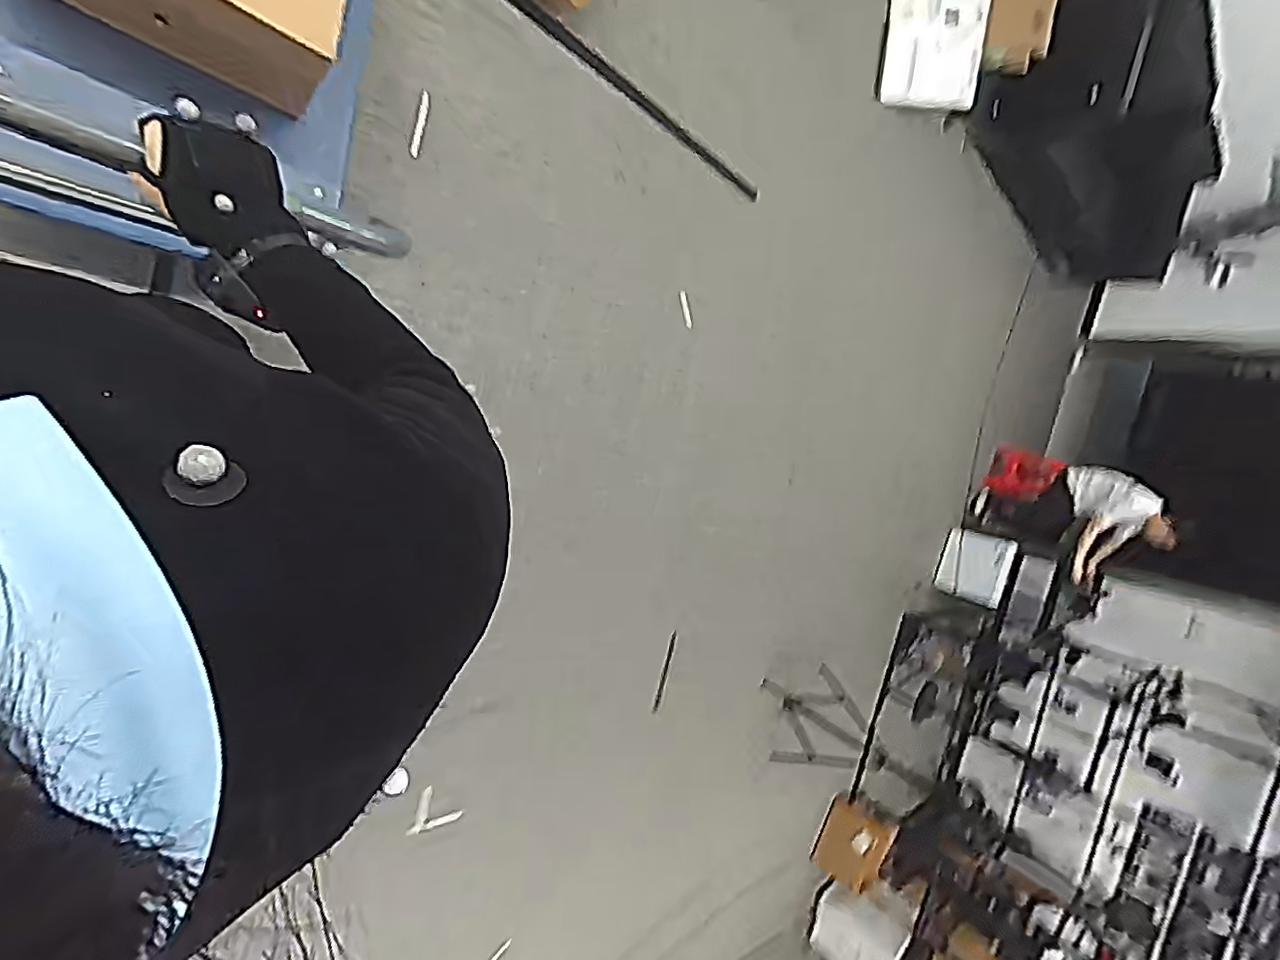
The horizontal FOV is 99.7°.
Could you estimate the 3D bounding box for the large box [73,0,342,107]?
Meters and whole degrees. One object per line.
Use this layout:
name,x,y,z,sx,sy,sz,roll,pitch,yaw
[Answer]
large box,-0.662,-0.833,0.768,0.408,0.320,0.320,10,95,-41
